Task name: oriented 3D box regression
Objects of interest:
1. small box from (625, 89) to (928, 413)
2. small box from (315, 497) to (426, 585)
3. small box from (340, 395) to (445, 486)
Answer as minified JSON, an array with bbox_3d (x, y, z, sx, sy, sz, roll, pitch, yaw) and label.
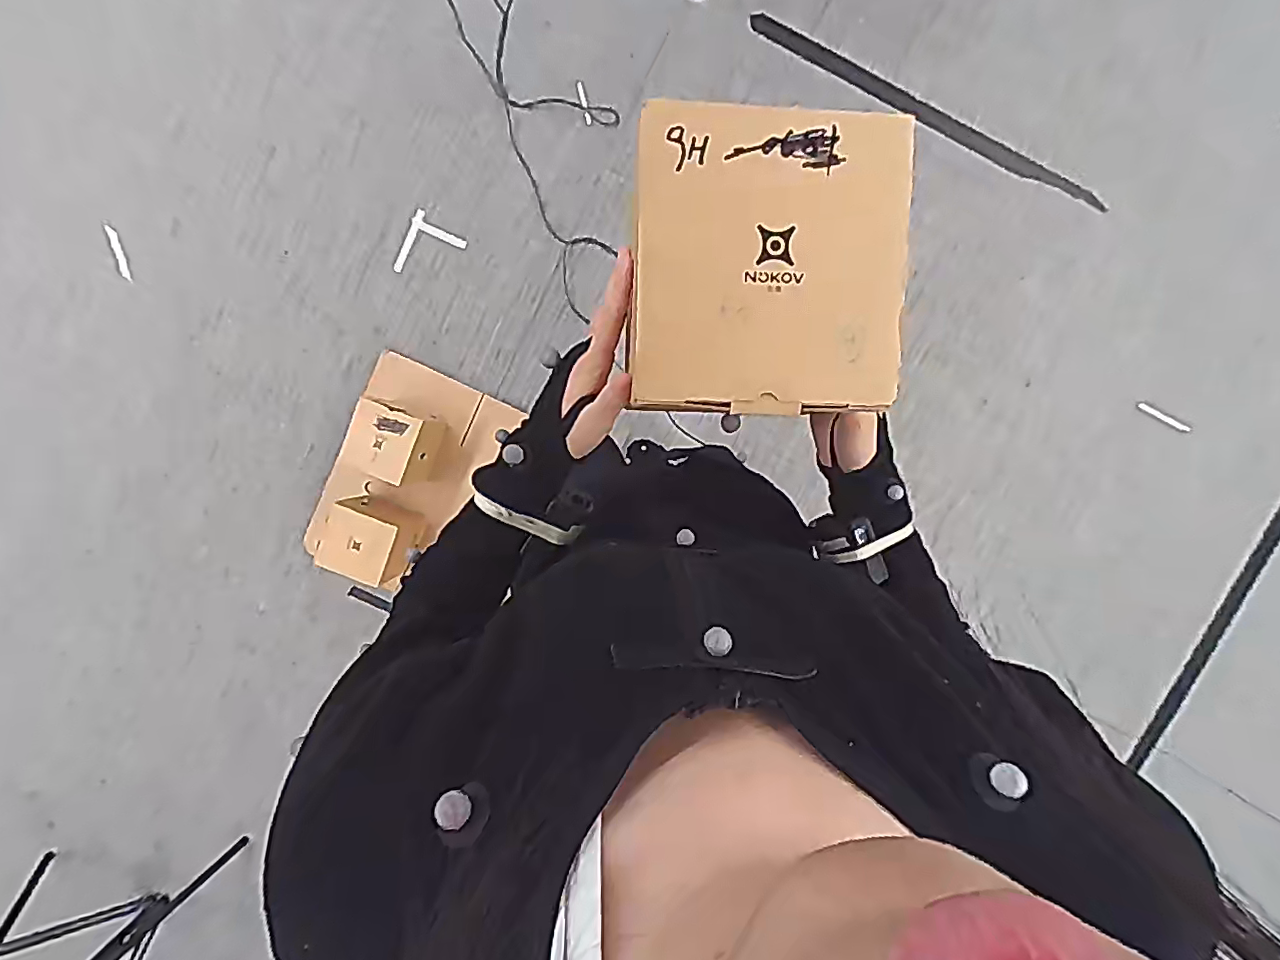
[{"bbox_3d":[0.077,-0.140,0.396,0.168,0.176,0.179,1,97,-5],"label":"small box"},{"bbox_3d":[-0.692,0.149,1.405,0.179,0.176,0.168,20,95,-2],"label":"small box"},{"bbox_3d":[-0.622,-0.101,1.383,0.168,0.176,0.179,22,94,-1],"label":"small box"}]
